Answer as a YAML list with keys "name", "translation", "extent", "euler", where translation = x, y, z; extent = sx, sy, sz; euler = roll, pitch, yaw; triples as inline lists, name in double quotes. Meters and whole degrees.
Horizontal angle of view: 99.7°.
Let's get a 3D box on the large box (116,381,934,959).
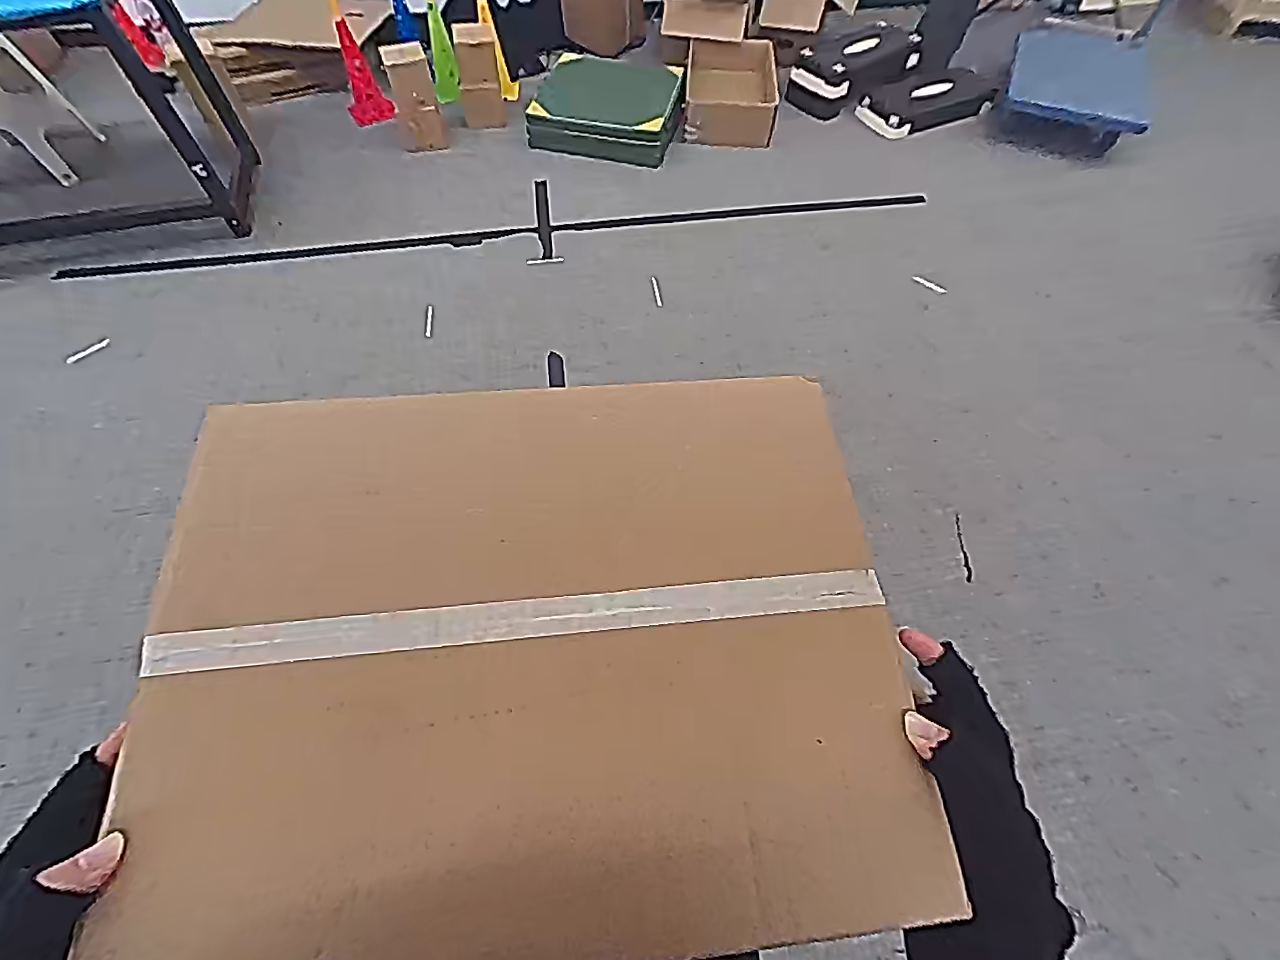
- name: "large box"
  translation: [-0.067, 0.143, 0.456]
  extent: [0.408, 0.320, 0.320]
  euler: [-4, 66, -5]
